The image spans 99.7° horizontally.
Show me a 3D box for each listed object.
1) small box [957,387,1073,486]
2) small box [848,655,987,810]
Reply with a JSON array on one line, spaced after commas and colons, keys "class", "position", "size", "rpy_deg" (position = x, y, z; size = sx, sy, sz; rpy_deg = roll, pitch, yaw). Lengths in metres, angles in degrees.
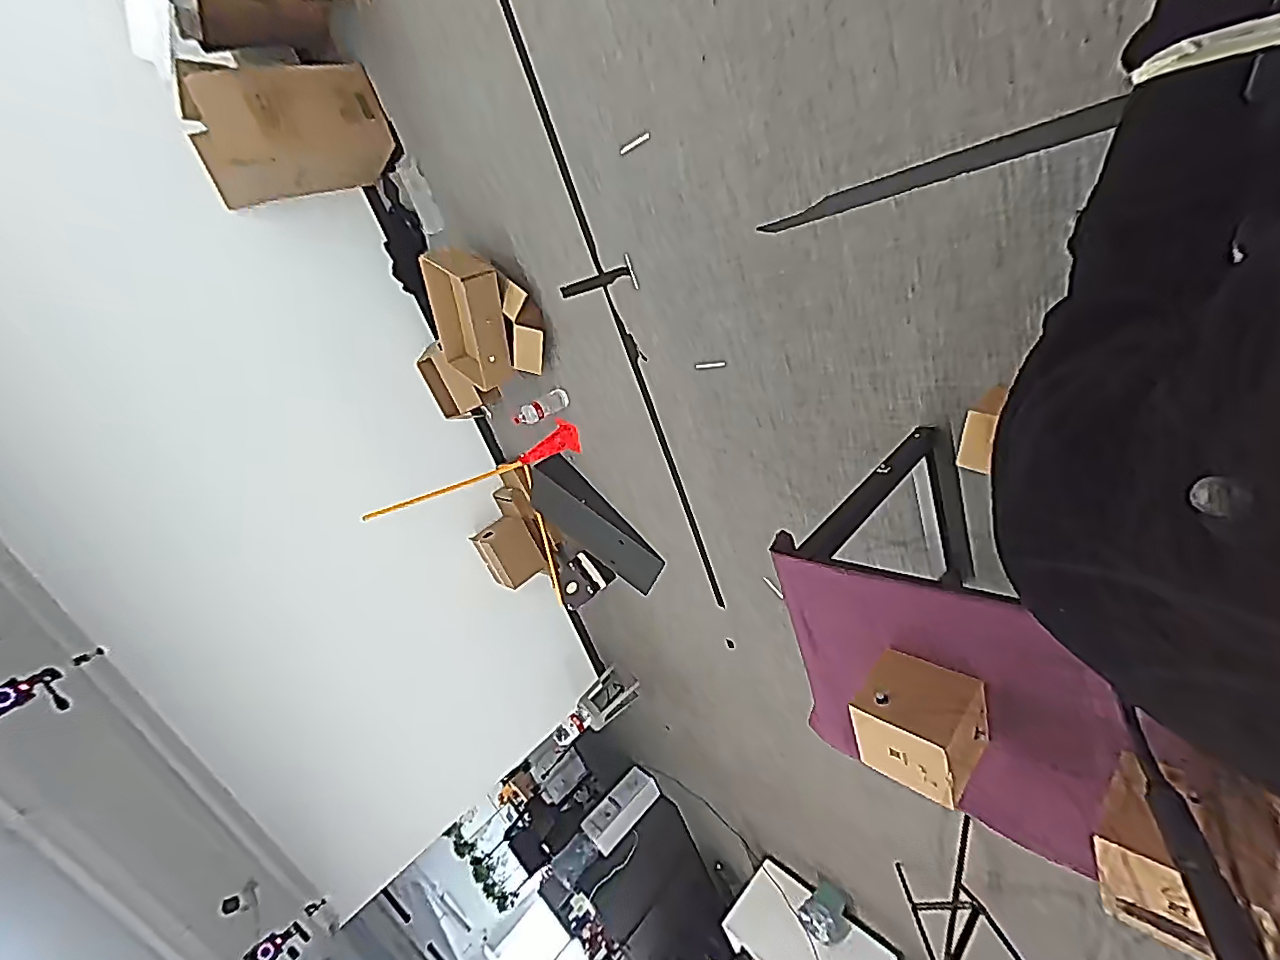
[{"class": "small box", "position": [0.927, -0.116, 1.342], "size": [0.179, 0.176, 0.168], "rpy_deg": [25, 136, 39]}, {"class": "small box", "position": [0.523, 0.459, 1.017], "size": [0.179, 0.176, 0.168], "rpy_deg": [9, 127, 49]}]
